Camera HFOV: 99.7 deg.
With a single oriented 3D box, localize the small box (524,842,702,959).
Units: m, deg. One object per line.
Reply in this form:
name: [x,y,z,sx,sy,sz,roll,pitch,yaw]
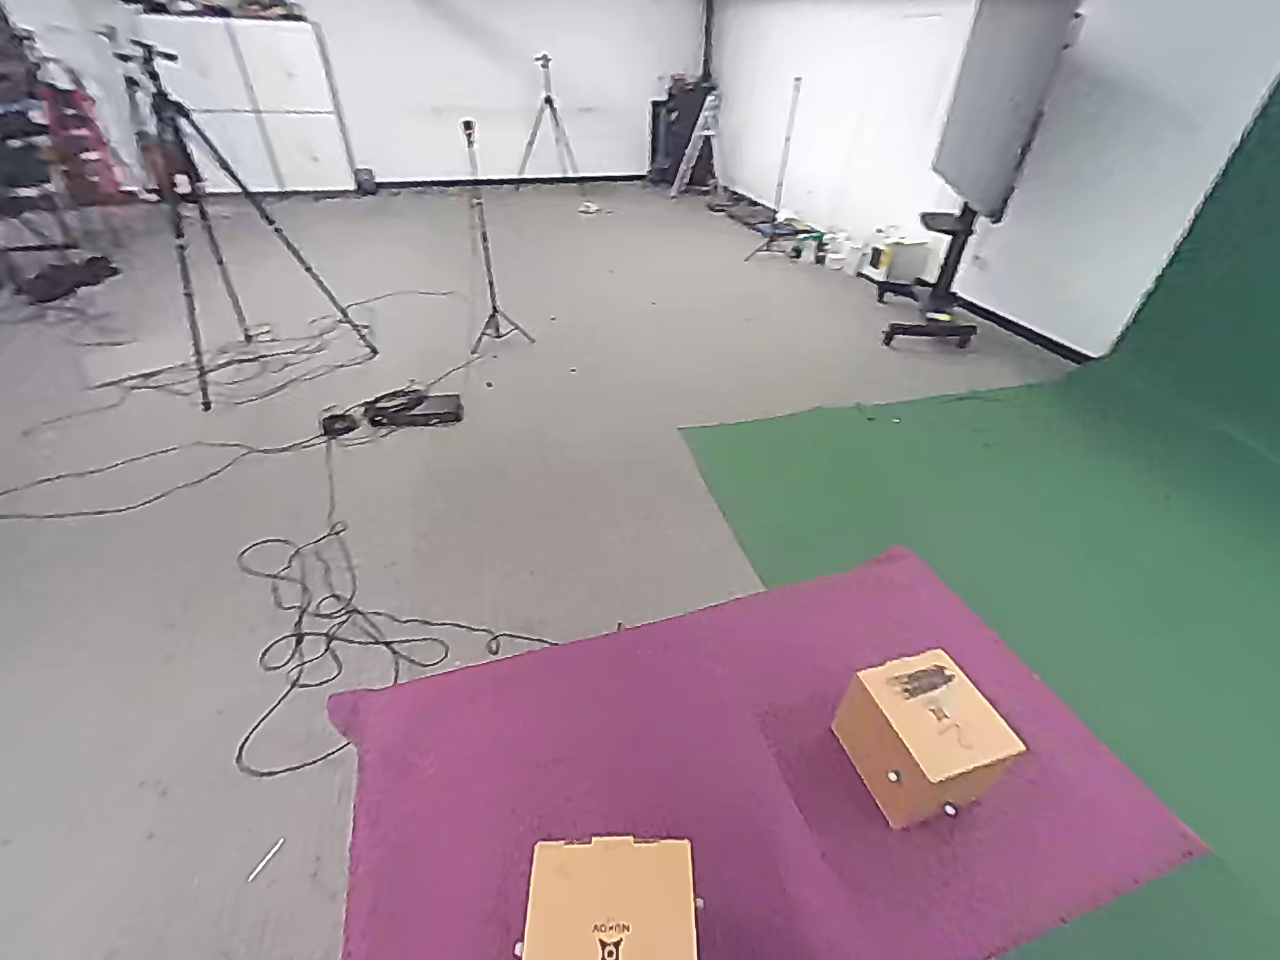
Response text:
small box: [-0.026,0.492,0.548,0.168,0.176,0.179,0,44,0]
